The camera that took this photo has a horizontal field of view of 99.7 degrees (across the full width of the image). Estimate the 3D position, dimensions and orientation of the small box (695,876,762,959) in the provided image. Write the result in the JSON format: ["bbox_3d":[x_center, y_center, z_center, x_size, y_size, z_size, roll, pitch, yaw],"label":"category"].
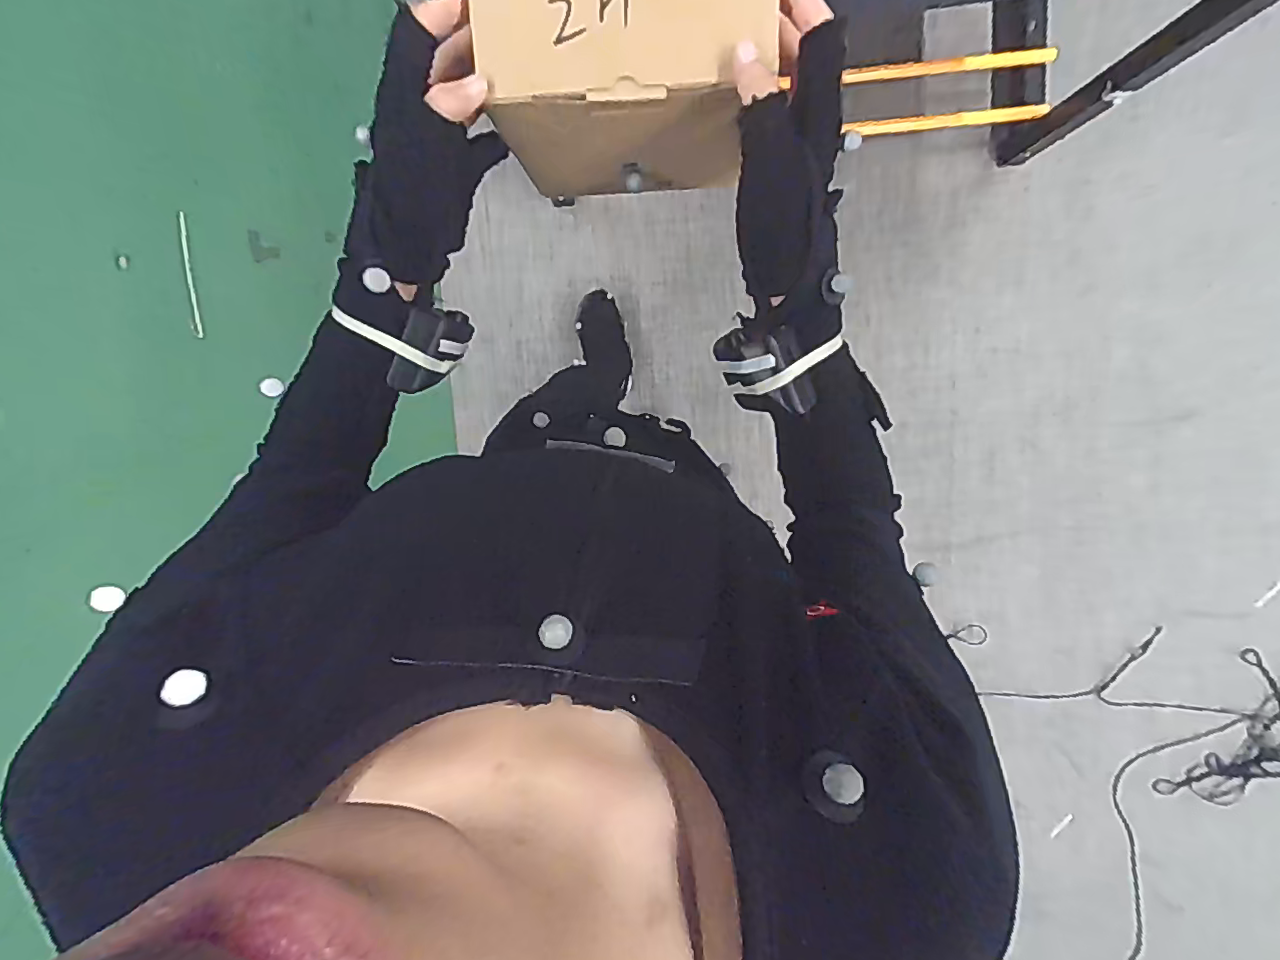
[{"bbox_3d":[0.249,1.296,1.569,0.168,0.176,0.179,4,99,2],"label":"small box"}]
